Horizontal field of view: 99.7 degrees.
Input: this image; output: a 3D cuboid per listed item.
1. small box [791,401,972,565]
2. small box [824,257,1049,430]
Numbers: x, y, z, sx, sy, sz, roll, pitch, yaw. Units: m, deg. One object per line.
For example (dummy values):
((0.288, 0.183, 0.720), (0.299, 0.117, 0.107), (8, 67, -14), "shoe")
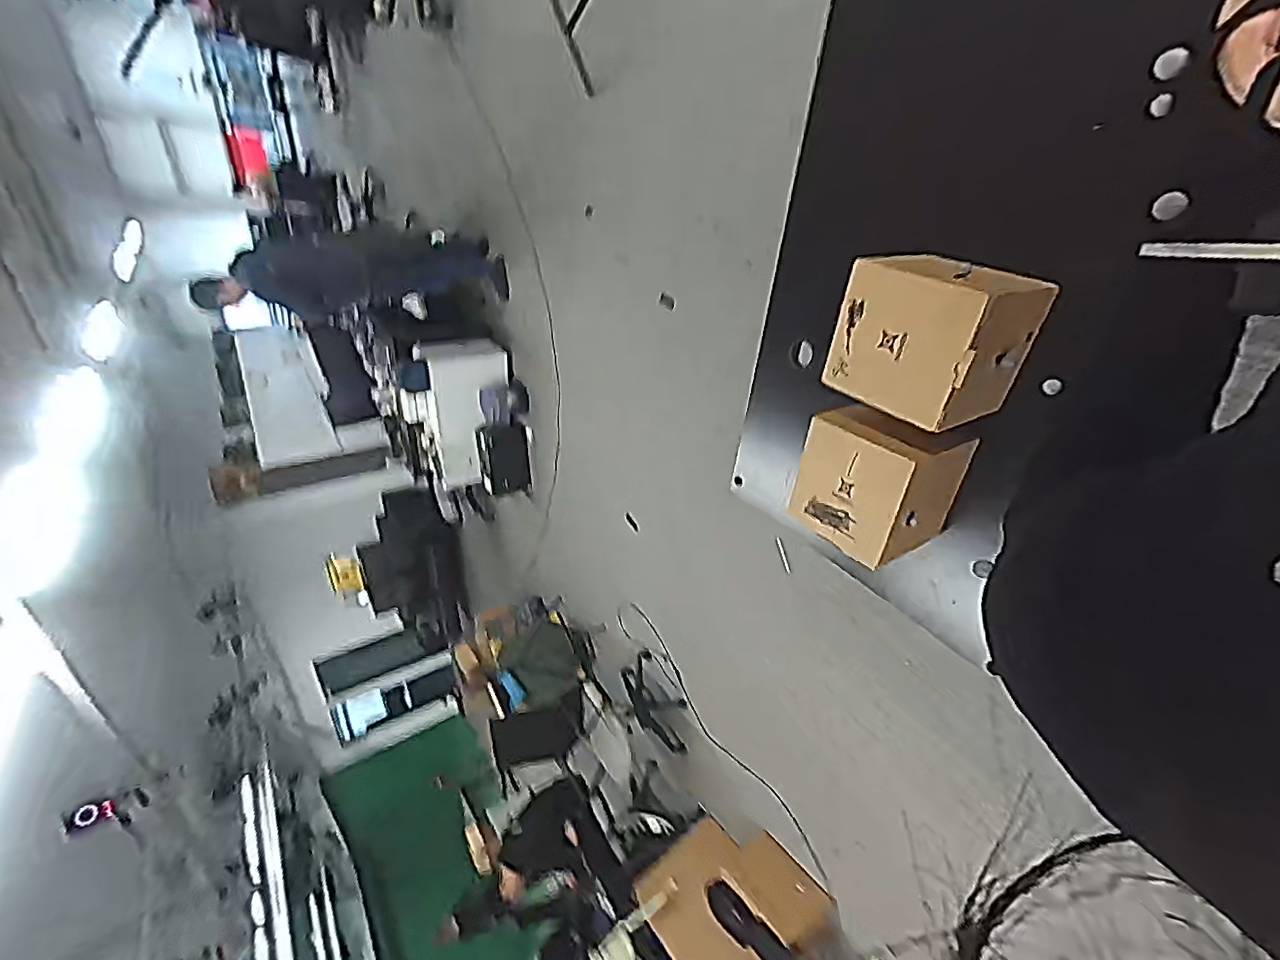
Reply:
((0.362, -0.006, 0.818), (0.168, 0.176, 0.179), (38, 133, 44), "small box")
((0.381, -0.189, 0.706), (0.179, 0.176, 0.168), (40, 136, 41), "small box")
